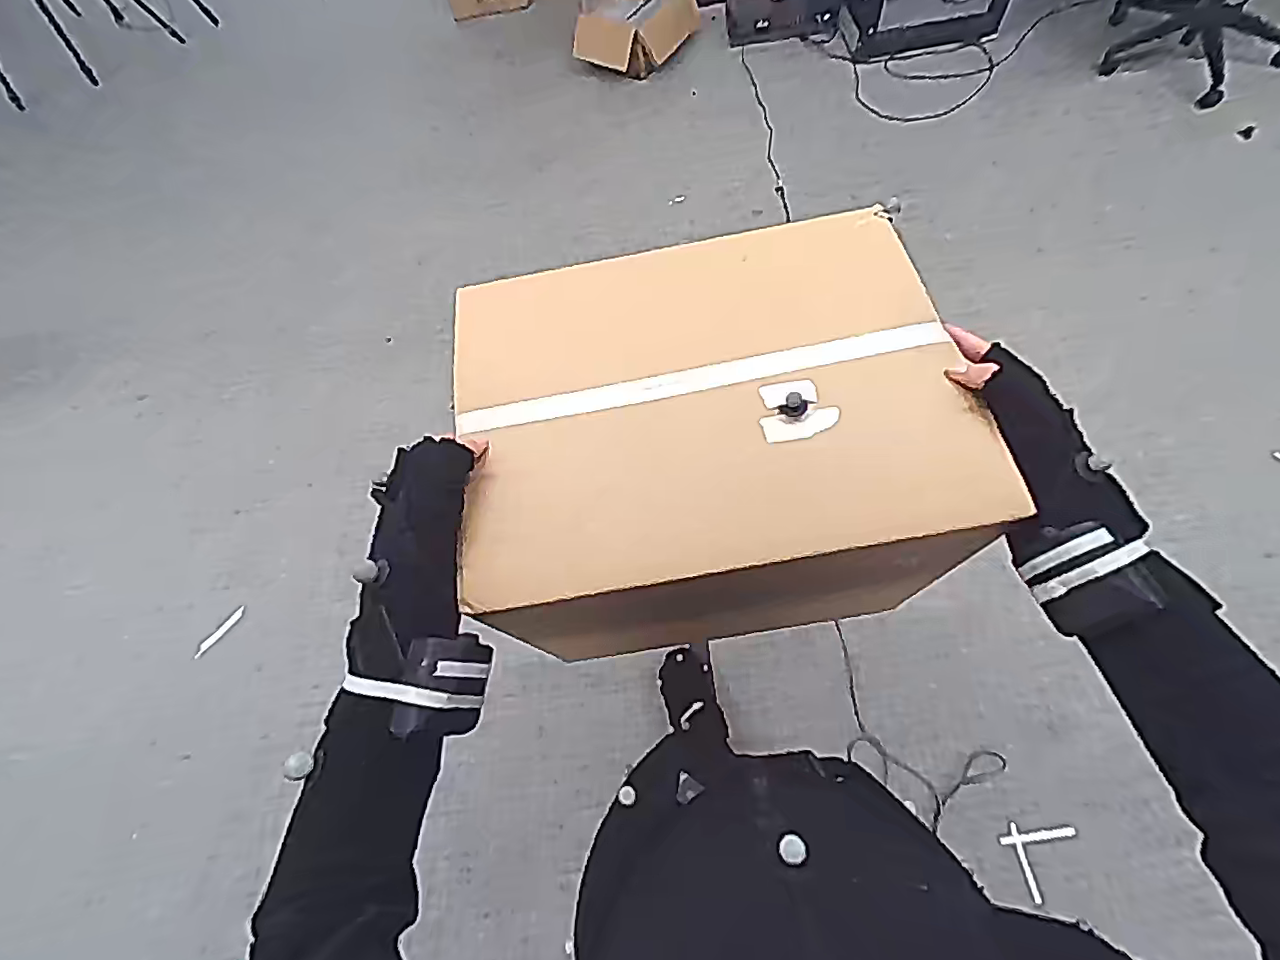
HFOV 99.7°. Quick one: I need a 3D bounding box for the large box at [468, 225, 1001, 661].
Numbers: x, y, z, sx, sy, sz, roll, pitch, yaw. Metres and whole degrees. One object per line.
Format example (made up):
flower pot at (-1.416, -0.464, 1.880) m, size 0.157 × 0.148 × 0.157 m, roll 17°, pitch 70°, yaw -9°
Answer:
large box at (0.062, -0.011, 0.595) m, size 0.408 × 0.320 × 0.320 m, roll -11°, pitch 64°, yaw 2°
